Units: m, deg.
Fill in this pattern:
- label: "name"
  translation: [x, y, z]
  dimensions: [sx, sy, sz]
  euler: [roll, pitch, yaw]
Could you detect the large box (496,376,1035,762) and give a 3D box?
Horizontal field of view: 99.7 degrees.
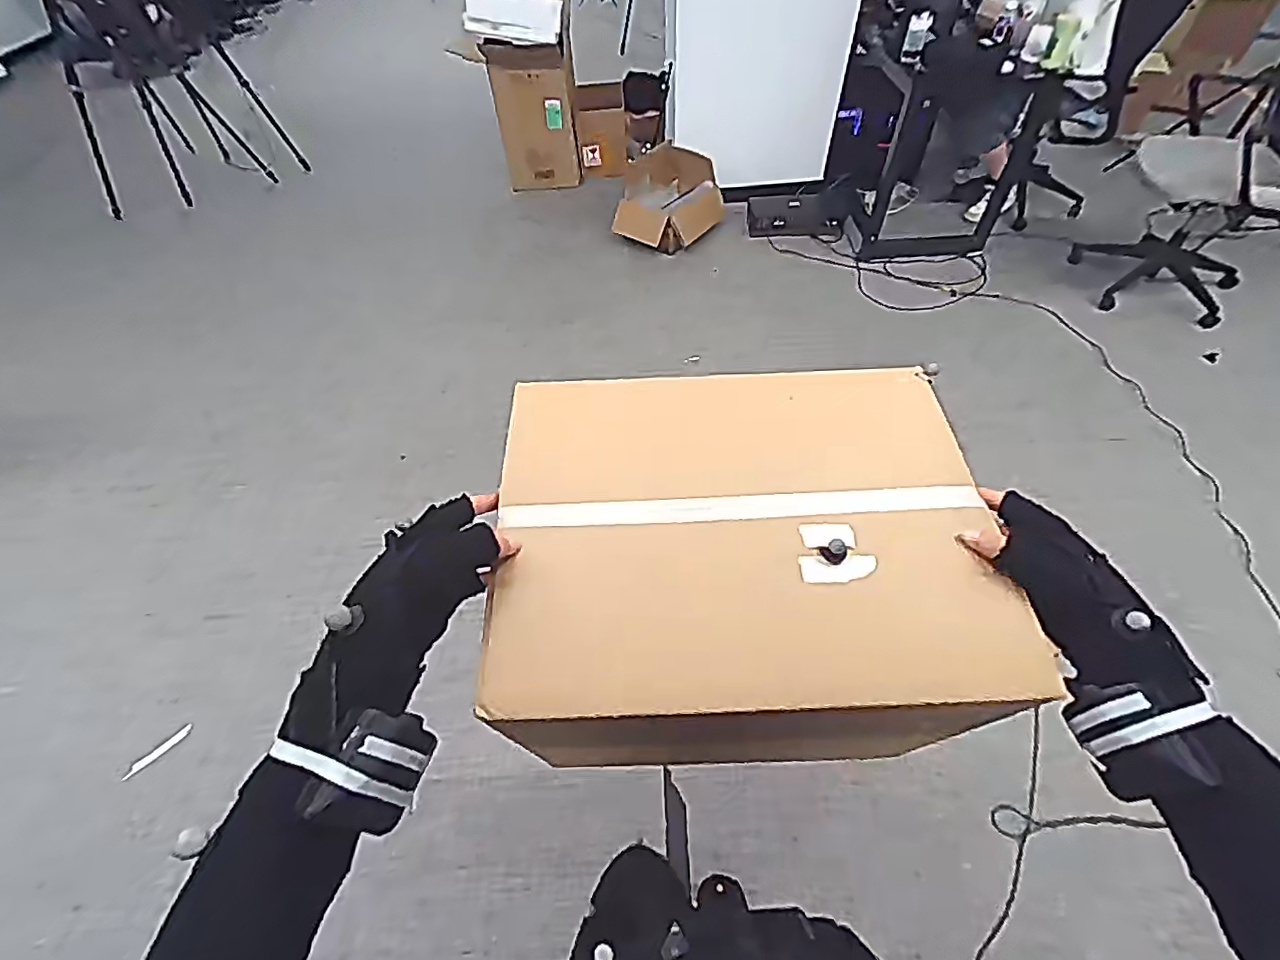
- label: "large box"
  translation: [0.087, 0.111, 0.595]
  dimensions: [0.408, 0.320, 0.320]
  euler: [-2, 57, 0]
